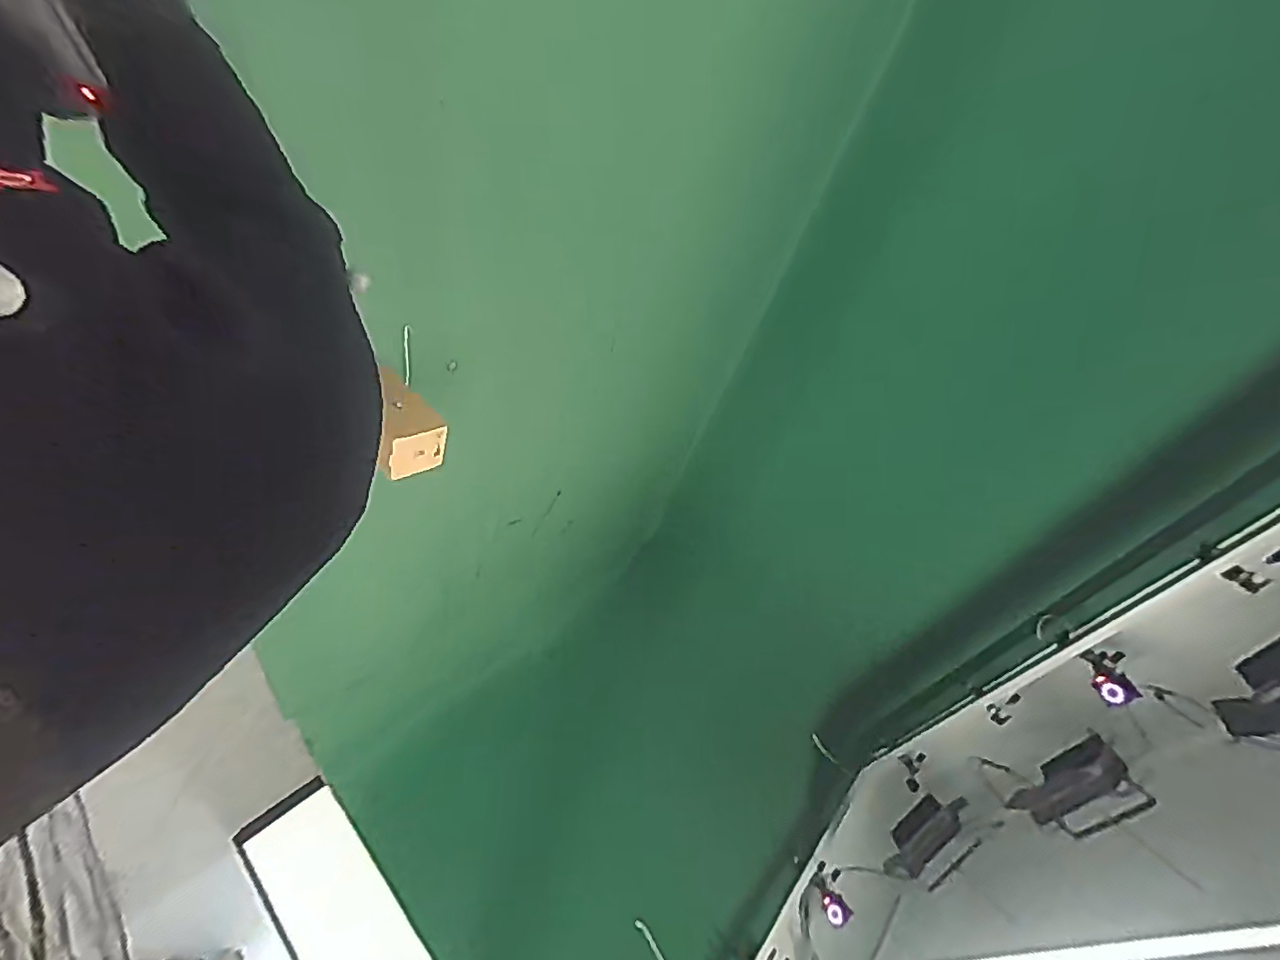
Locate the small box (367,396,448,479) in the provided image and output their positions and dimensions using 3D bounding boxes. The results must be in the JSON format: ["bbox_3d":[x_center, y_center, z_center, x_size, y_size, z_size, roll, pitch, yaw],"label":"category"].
[{"bbox_3d":[-0.718,-0.135,1.655,0.179,0.176,0.168,-25,150,-45],"label":"small box"}]

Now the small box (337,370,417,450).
[{"bbox_3d":[-0.824,-0.225,1.696,0.179,0.176,0.168,-26,152,-46],"label":"small box"}]
